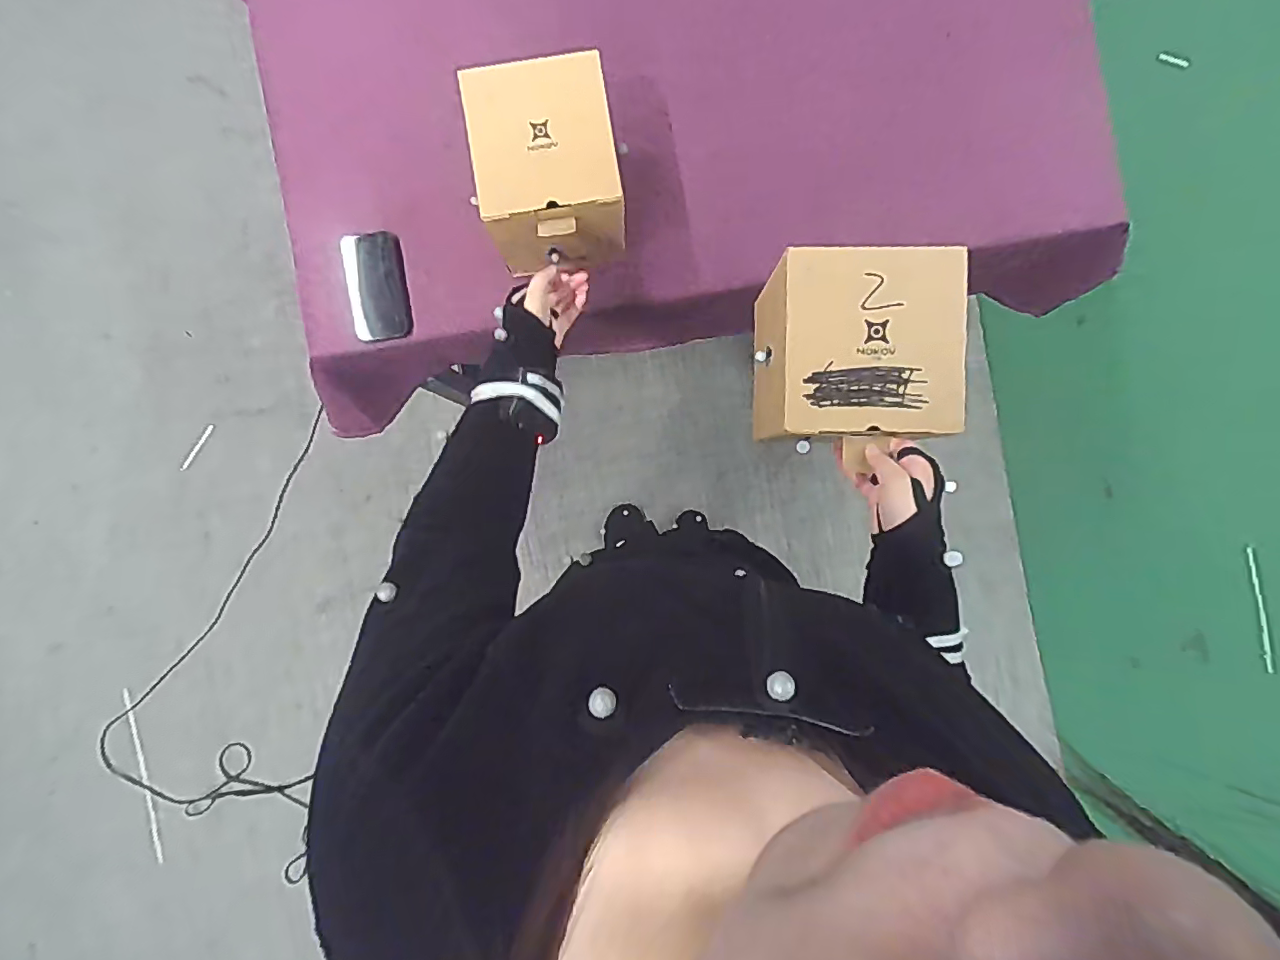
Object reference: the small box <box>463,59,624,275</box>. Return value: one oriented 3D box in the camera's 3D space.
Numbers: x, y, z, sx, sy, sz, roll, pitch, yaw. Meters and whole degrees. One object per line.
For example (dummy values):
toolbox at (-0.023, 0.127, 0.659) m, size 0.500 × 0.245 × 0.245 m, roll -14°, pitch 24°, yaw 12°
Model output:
small box at (-0.116, -0.393, 0.706) m, size 0.168 × 0.176 × 0.179 m, roll -9°, pitch 90°, yaw -1°
